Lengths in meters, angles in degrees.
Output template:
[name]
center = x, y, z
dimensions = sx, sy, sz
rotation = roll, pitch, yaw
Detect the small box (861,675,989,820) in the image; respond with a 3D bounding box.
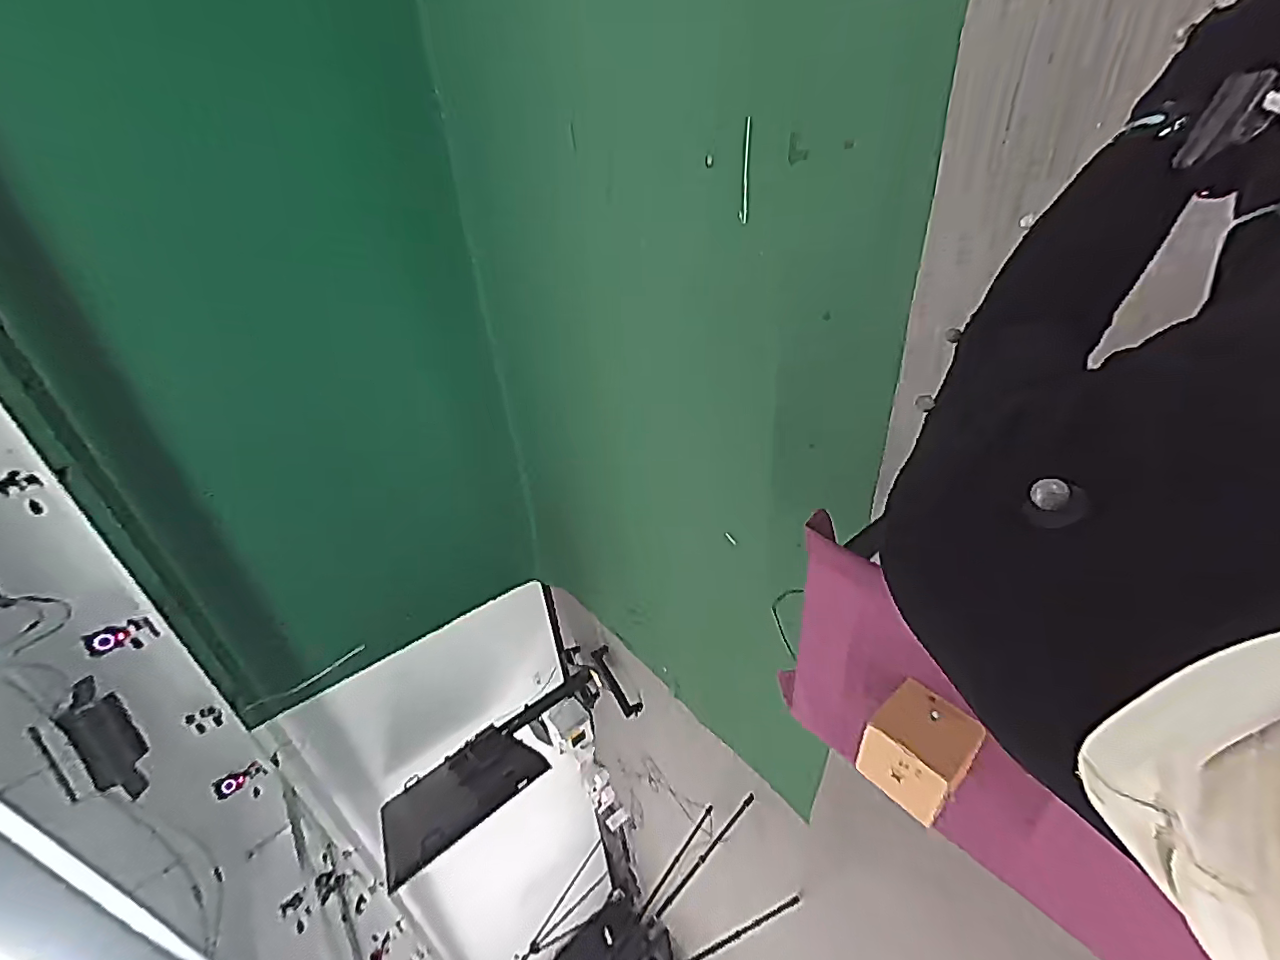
[small box]
center = 0.597, 0.555, 1.138
dimensions = 0.168, 0.176, 0.179
rotation = 31, 136, 42
